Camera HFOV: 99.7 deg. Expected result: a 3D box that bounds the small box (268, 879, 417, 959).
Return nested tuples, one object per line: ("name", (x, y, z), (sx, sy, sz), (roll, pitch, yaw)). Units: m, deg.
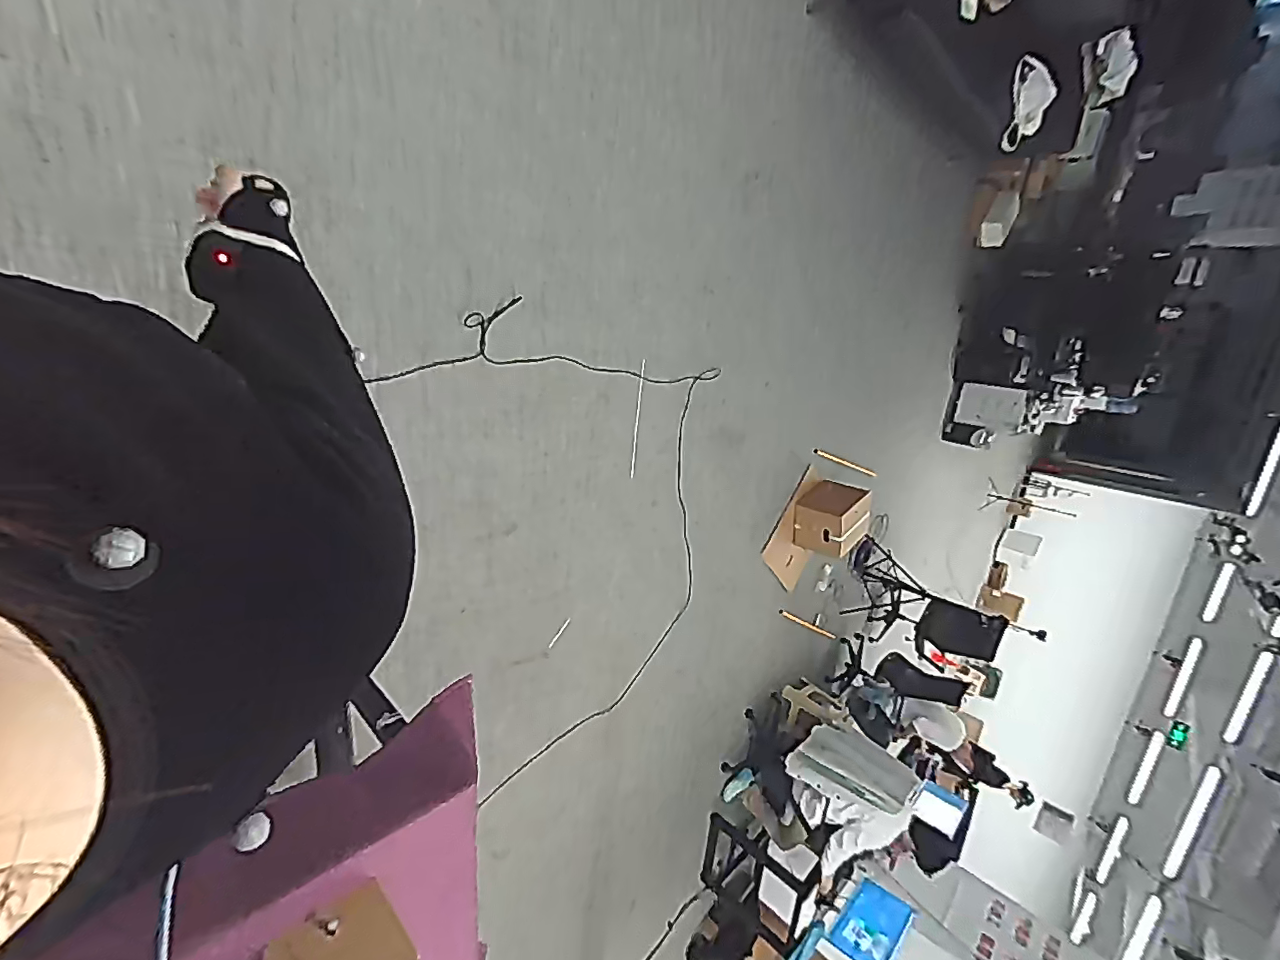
("small box", (-0.474, 0.803, 0.859), (0.179, 0.176, 0.168), (-9, 112, -44))
